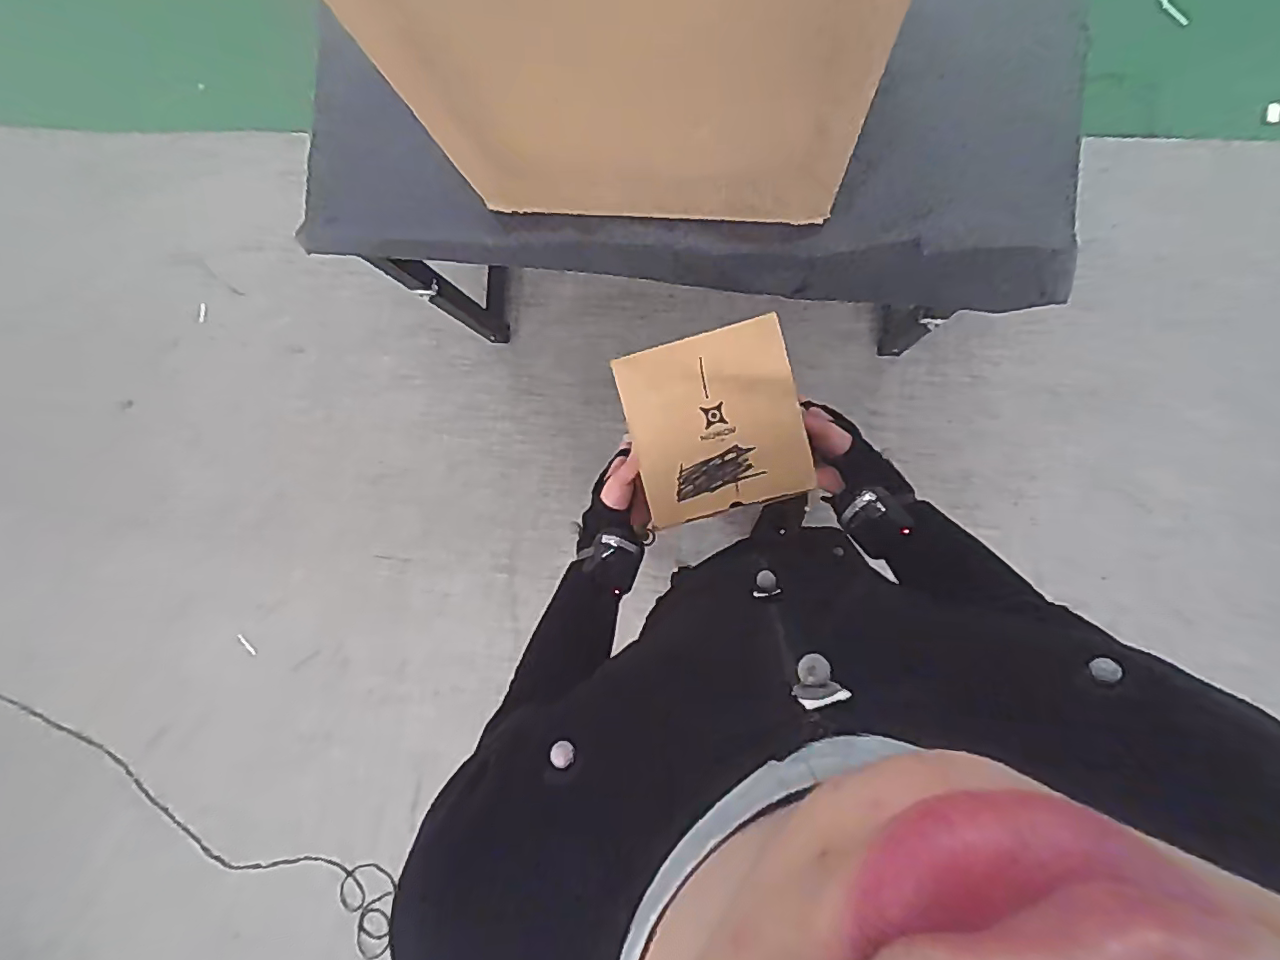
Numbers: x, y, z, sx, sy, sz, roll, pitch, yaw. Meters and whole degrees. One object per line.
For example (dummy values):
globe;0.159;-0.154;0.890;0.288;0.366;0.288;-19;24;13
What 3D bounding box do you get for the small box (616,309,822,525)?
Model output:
small box;0.082;-0.069;0.600;0.168;0.176;0.179;-16;96;5
